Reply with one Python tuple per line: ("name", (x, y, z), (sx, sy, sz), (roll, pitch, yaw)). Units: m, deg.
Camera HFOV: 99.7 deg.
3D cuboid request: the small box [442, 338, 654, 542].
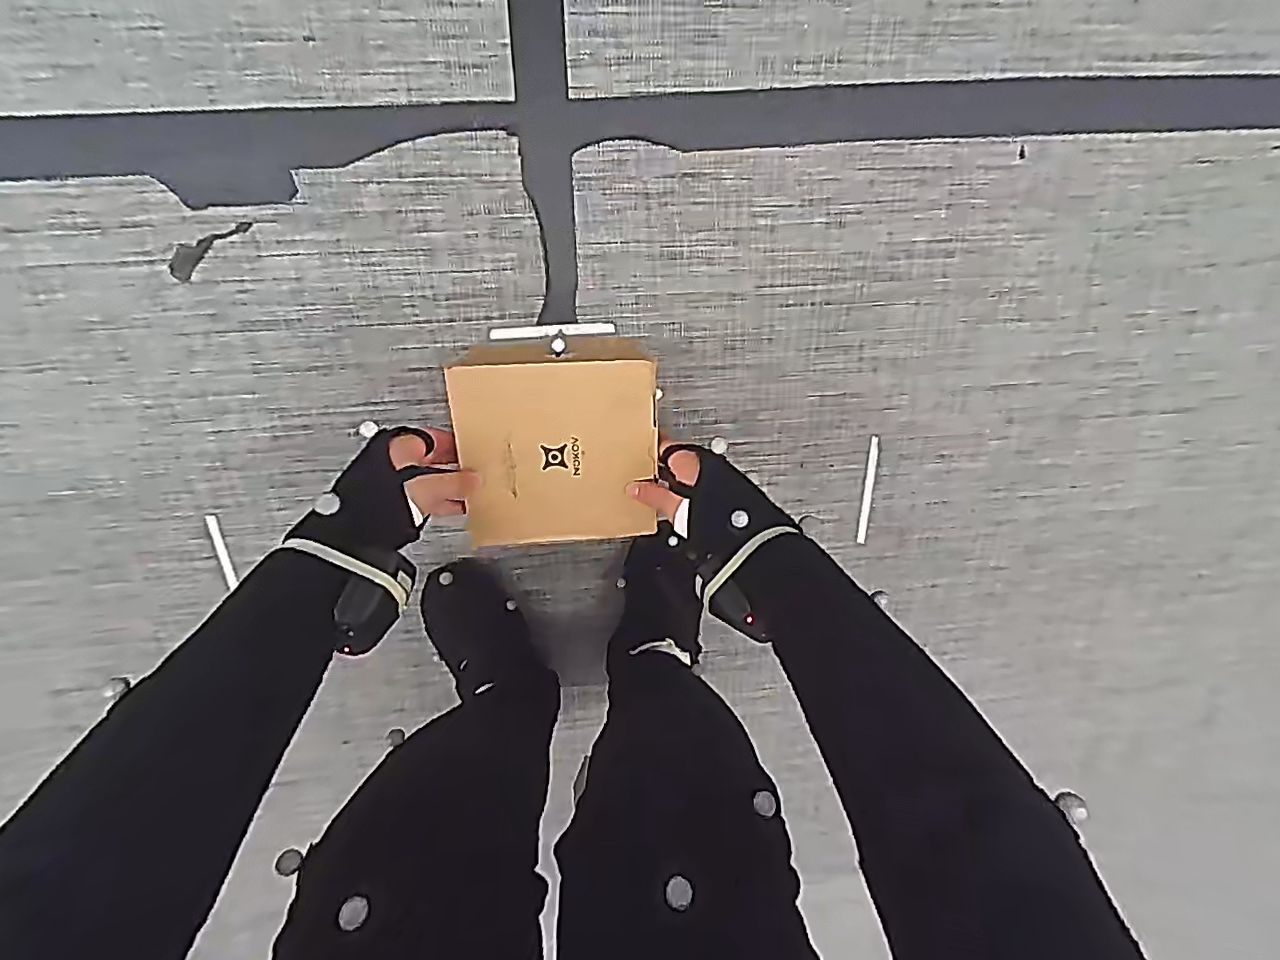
("small box", (-0.084, -0.052, 0.556), (0.179, 0.176, 0.168), (-4, 110, -4))
